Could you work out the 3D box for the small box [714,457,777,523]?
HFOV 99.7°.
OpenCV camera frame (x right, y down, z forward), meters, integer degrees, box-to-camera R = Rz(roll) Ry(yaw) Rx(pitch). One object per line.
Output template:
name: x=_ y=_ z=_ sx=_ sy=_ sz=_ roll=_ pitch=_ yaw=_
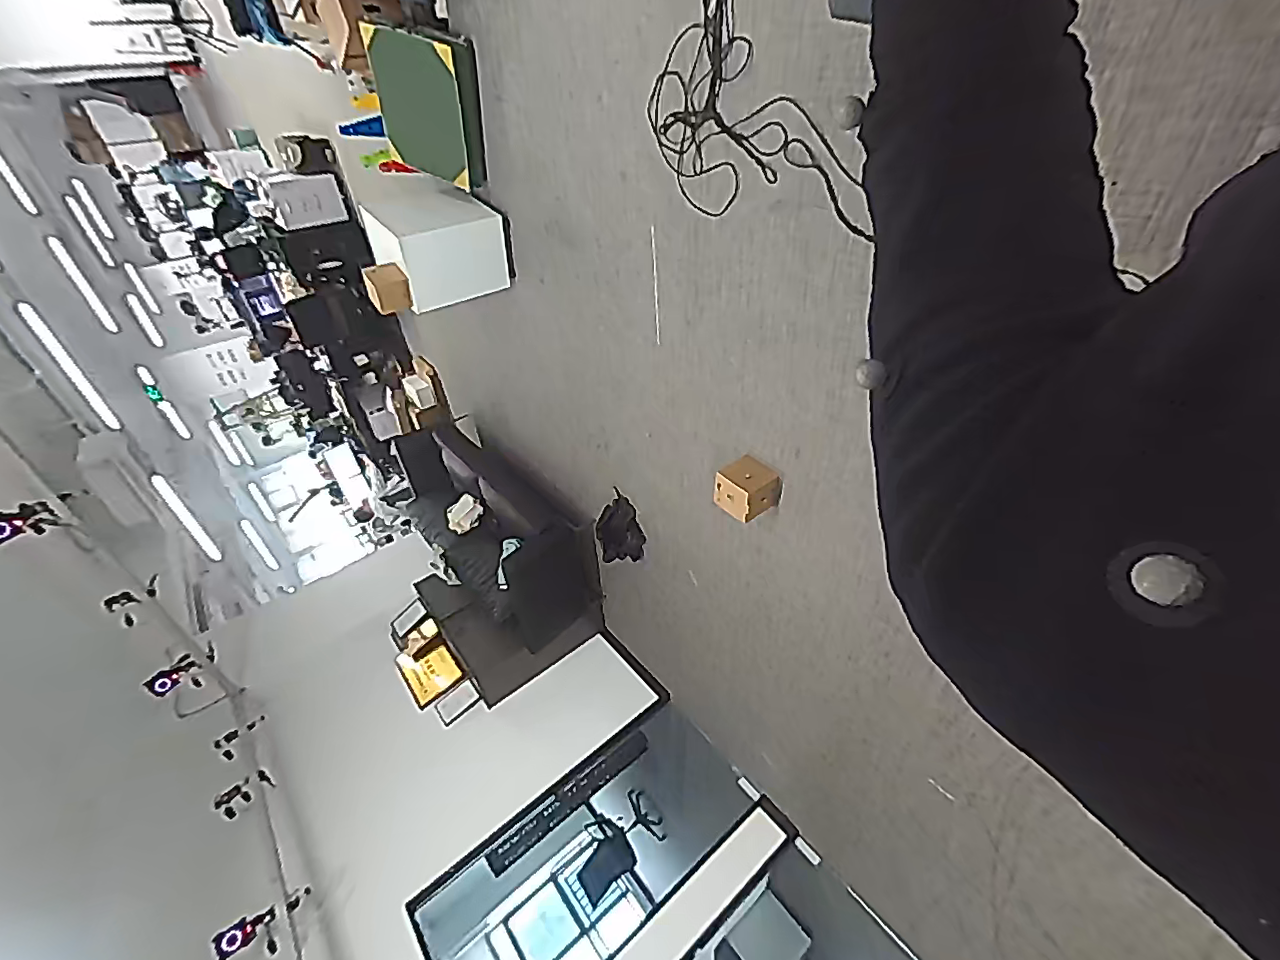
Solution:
small box: x=0.420 y=0.034 z=2.149 sx=0.179 sy=0.176 sz=0.168 roll=37 pitch=144 yaw=36
